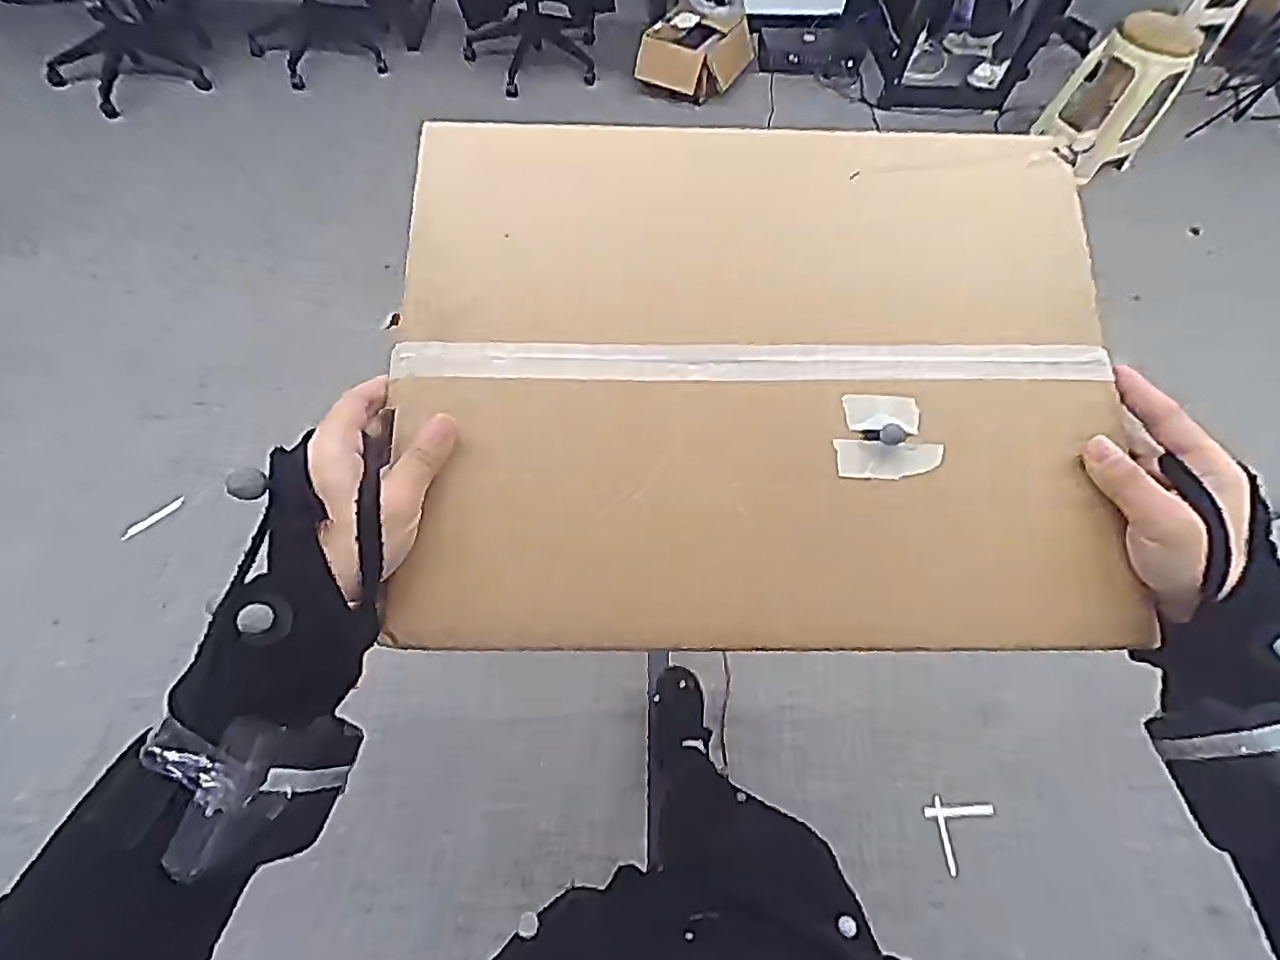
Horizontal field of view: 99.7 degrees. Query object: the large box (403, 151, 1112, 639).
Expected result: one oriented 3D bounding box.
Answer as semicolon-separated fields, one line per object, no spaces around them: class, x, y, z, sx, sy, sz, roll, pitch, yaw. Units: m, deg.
large box;0.061;-0.037;0.473;0.408;0.320;0.320;0;79;-2
